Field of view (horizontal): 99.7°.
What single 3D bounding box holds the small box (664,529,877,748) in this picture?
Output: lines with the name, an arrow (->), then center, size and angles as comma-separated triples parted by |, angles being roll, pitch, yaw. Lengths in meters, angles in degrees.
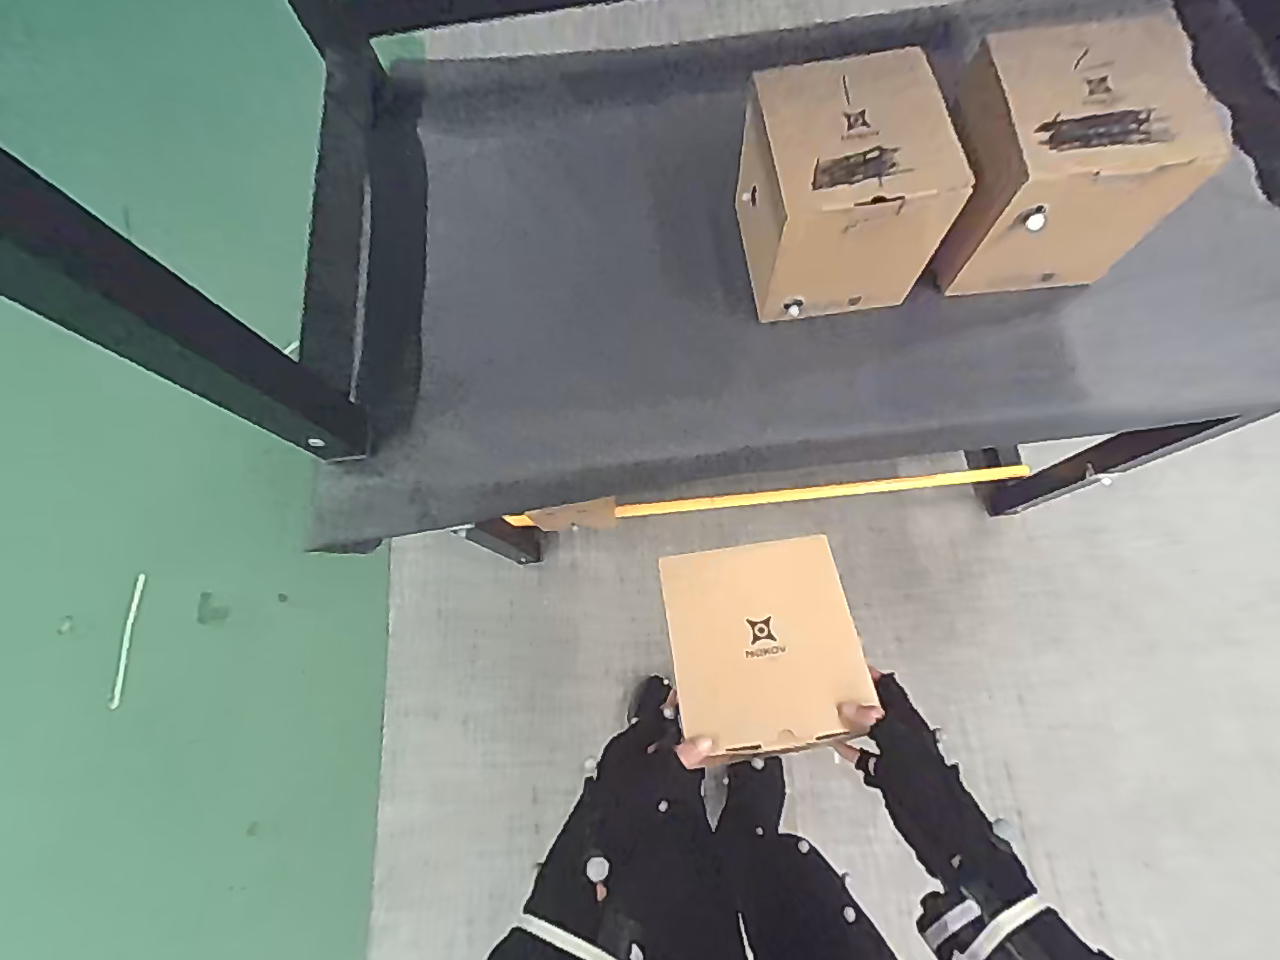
small box -> 0.116, 0.172, 0.569 | 0.168, 0.176, 0.179 | -8, 61, 0

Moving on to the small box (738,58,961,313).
small box -> 0.205, -0.299, 0.586 | 0.168, 0.176, 0.179 | -7, 72, 3
